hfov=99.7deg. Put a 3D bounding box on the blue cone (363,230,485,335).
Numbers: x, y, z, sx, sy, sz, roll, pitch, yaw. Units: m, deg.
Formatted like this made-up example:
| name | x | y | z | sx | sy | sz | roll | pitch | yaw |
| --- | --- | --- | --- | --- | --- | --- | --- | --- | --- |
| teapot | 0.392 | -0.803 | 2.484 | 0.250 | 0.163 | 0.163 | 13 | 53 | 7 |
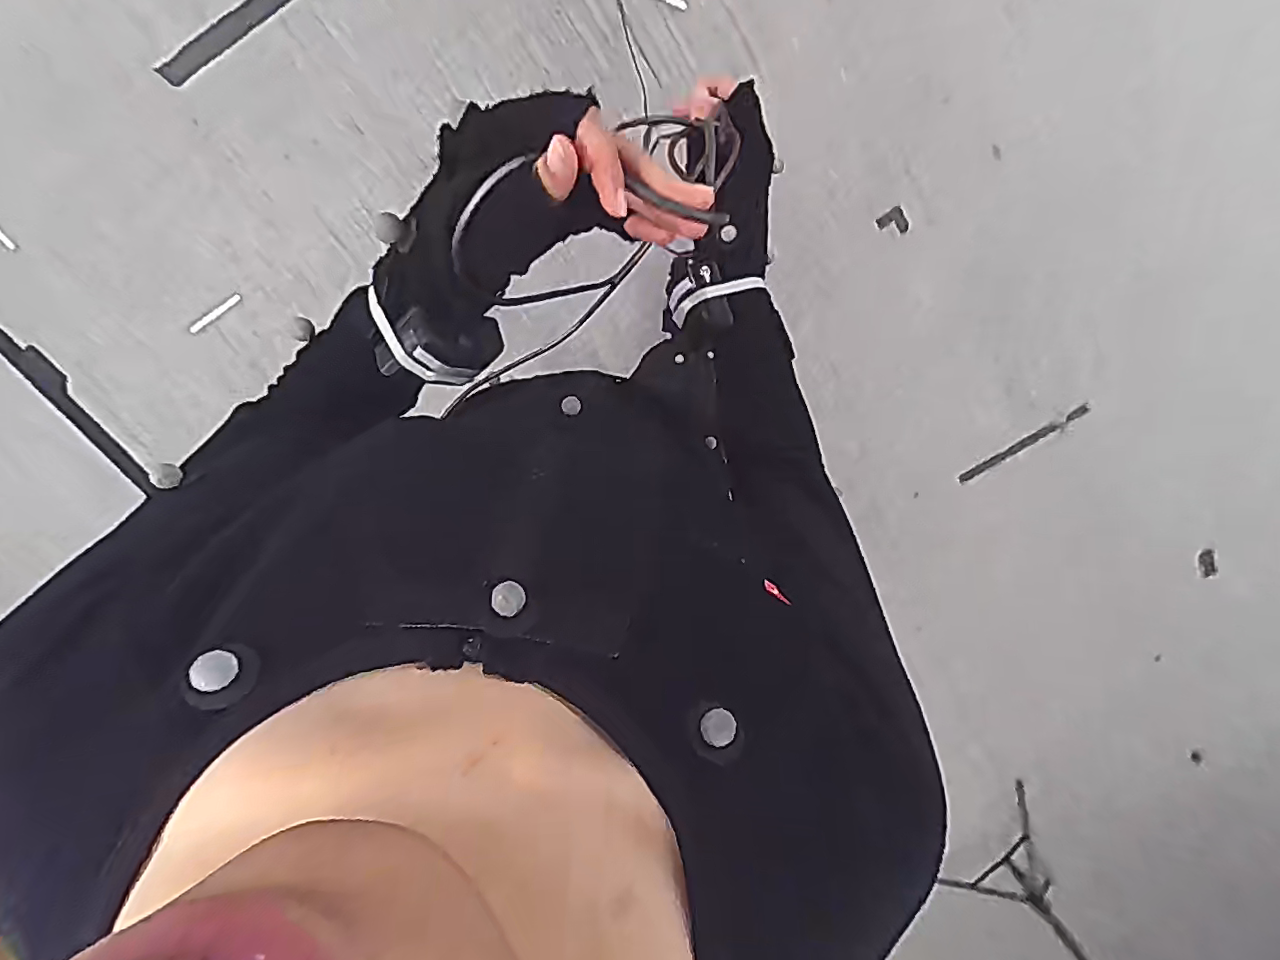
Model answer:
| name | x | y | z | sx | sy | sz | roll | pitch | yaw |
| --- | --- | --- | --- | --- | --- | --- | --- | --- | --- |
| blue cone | -0.483 | -0.428 | 1.148 | 0.193 | 0.380 | 0.192 | -38 | 104 | 7 |
